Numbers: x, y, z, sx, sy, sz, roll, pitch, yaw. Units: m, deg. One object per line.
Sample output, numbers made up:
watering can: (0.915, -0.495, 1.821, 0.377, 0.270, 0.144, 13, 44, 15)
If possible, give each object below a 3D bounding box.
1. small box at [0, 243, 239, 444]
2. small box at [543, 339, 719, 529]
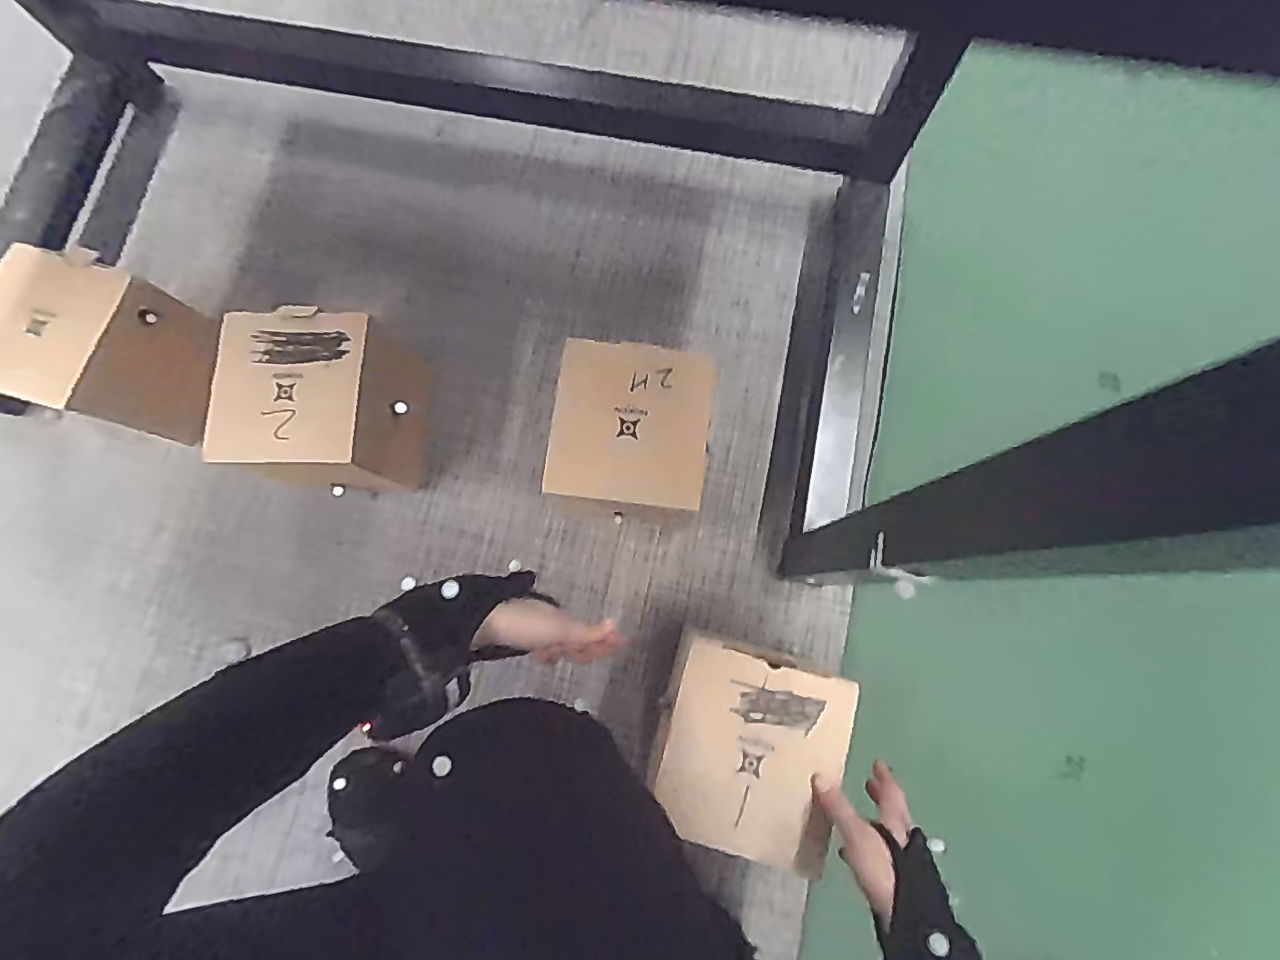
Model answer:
small box: (-0.671, -0.162, 0.692, 0.168, 0.176, 0.179, 16, 79, 6)
small box: (-0.004, -0.042, 0.637, 0.168, 0.176, 0.179, 7, 79, 3)
